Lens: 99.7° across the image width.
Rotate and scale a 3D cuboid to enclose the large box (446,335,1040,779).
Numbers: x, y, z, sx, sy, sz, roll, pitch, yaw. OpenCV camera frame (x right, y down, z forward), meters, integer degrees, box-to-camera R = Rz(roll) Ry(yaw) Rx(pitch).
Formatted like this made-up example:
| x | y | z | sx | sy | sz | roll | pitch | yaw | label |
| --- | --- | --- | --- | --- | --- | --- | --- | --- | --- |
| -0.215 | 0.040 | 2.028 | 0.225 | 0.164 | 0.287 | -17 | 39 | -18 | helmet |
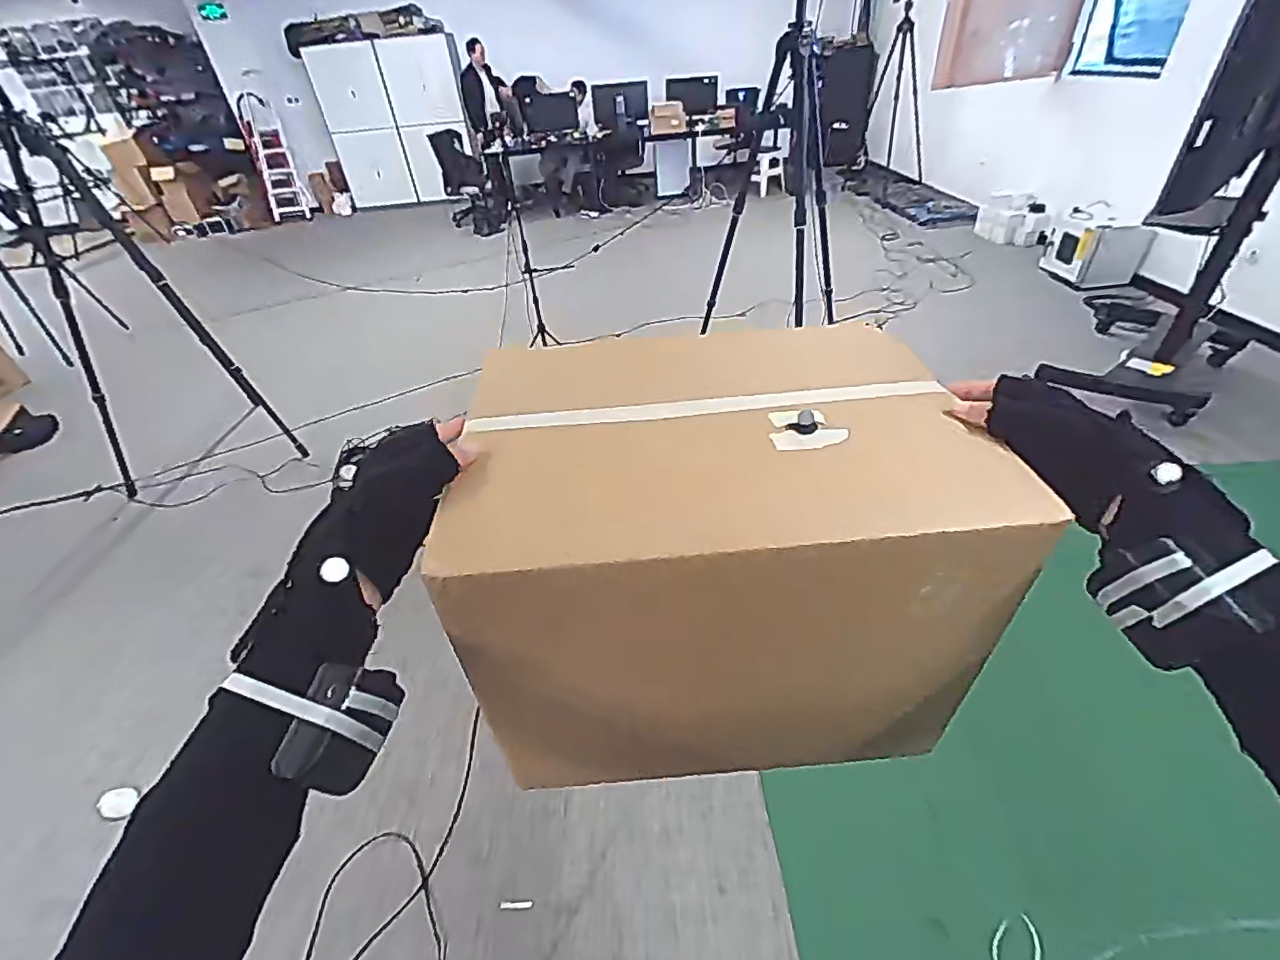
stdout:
| x | y | z | sx | sy | sz | roll | pitch | yaw | label |
| --- | --- | --- | --- | --- | --- | --- | --- | --- | --- |
| 0.064 | 0.067 | 0.557 | 0.408 | 0.320 | 0.320 | -4 | 39 | -2 | large box |
